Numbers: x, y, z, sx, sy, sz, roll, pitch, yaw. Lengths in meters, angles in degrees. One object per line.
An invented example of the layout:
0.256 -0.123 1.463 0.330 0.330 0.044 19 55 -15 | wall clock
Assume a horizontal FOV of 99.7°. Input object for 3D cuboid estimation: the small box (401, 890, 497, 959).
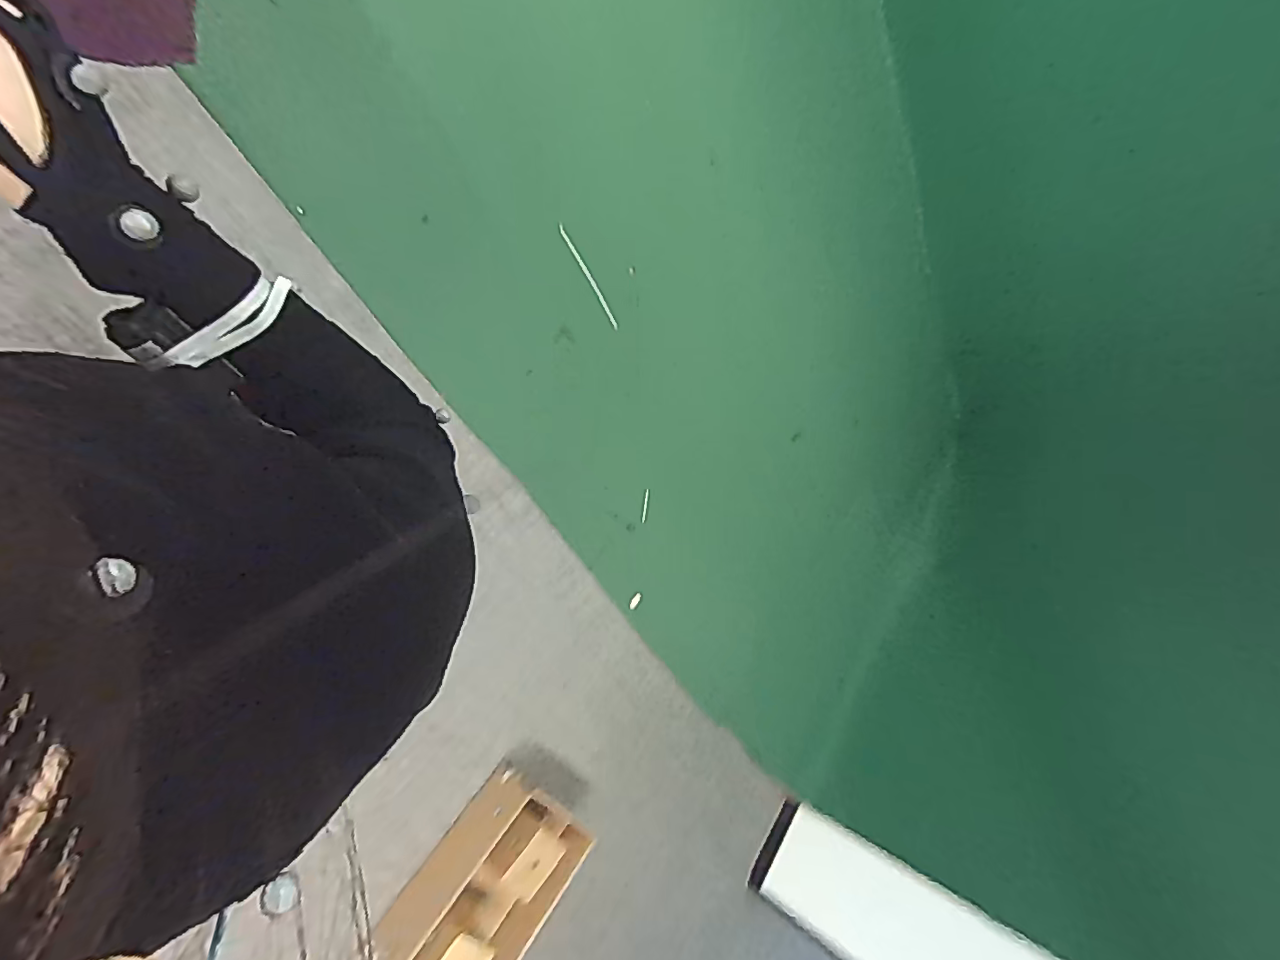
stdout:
-0.567 1.360 1.593 0.168 0.176 0.179 -48 125 -26 | small box
